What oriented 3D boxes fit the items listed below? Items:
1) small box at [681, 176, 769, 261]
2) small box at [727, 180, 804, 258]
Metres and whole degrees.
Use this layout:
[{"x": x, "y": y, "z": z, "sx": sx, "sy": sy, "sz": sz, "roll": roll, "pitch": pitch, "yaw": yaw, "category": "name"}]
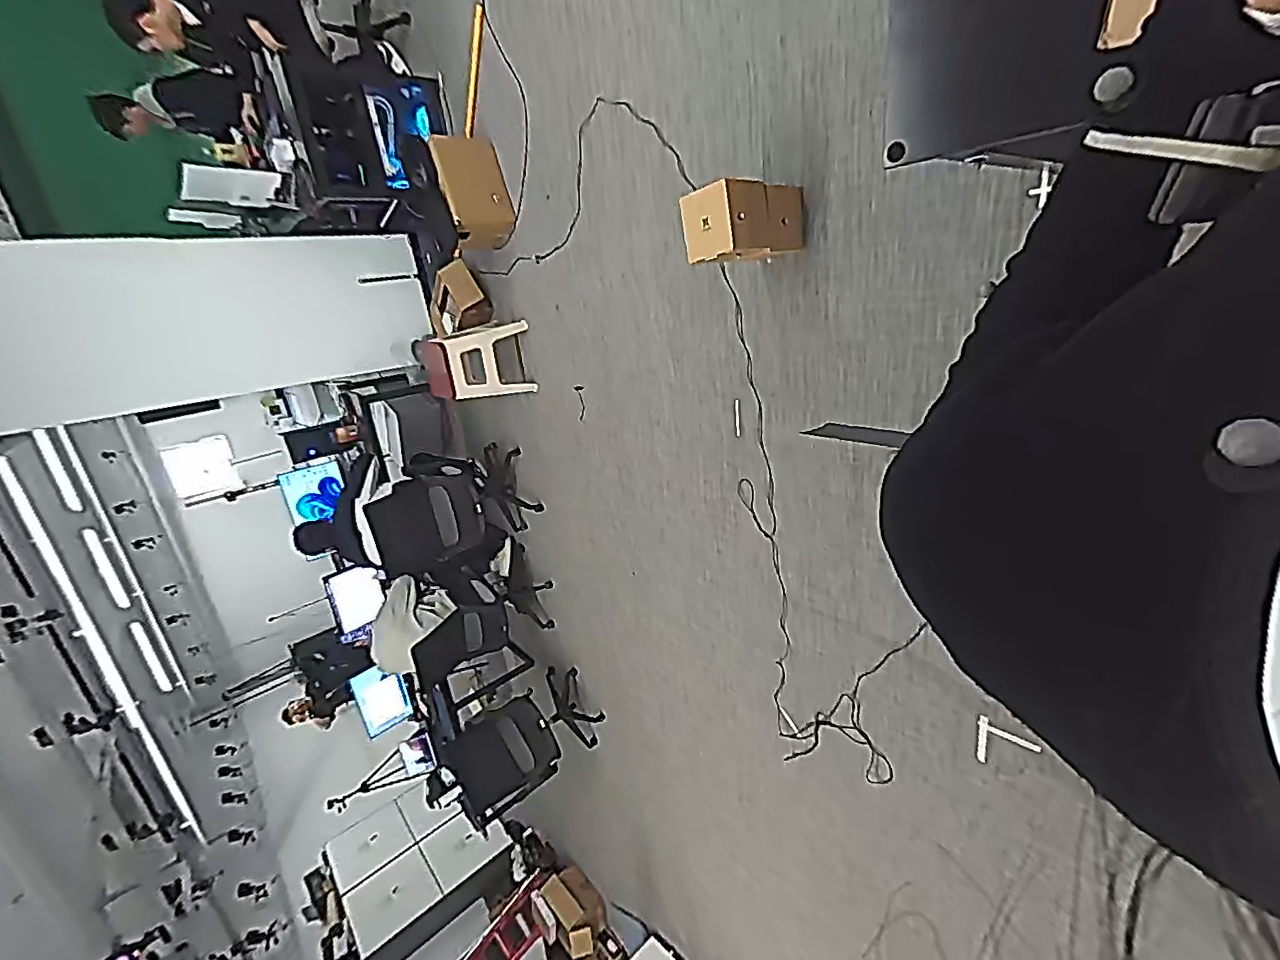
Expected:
[{"x": 0.238, "y": -0.713, "z": 1.483, "sx": 0.168, "sy": 0.176, "sz": 0.179, "roll": 6, "pitch": 111, "yaw": 49, "category": "small box"}, {"x": 0.361, "y": -0.756, "z": 1.580, "sx": 0.168, "sy": 0.176, "sz": 0.179, "roll": 11, "pitch": 117, "yaw": 49, "category": "small box"}]
